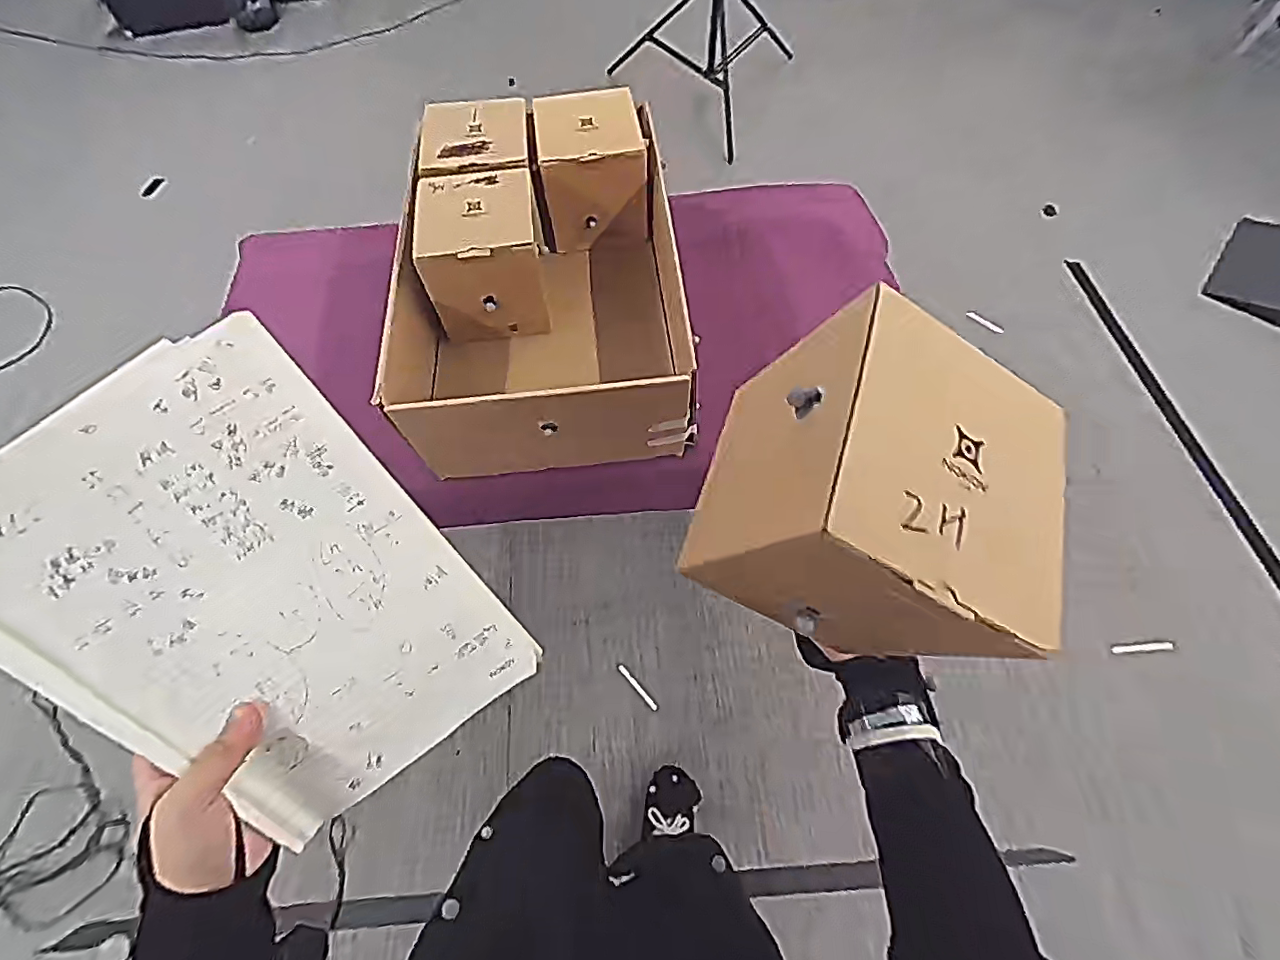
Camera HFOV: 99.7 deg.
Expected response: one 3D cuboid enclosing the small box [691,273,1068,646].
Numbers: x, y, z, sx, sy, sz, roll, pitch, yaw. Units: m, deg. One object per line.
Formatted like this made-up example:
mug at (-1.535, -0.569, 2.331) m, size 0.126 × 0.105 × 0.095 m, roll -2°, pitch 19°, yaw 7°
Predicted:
small box at (0.158, 0.003, 0.383) m, size 0.168 × 0.176 × 0.179 m, roll 28°, pitch 65°, yaw -13°
